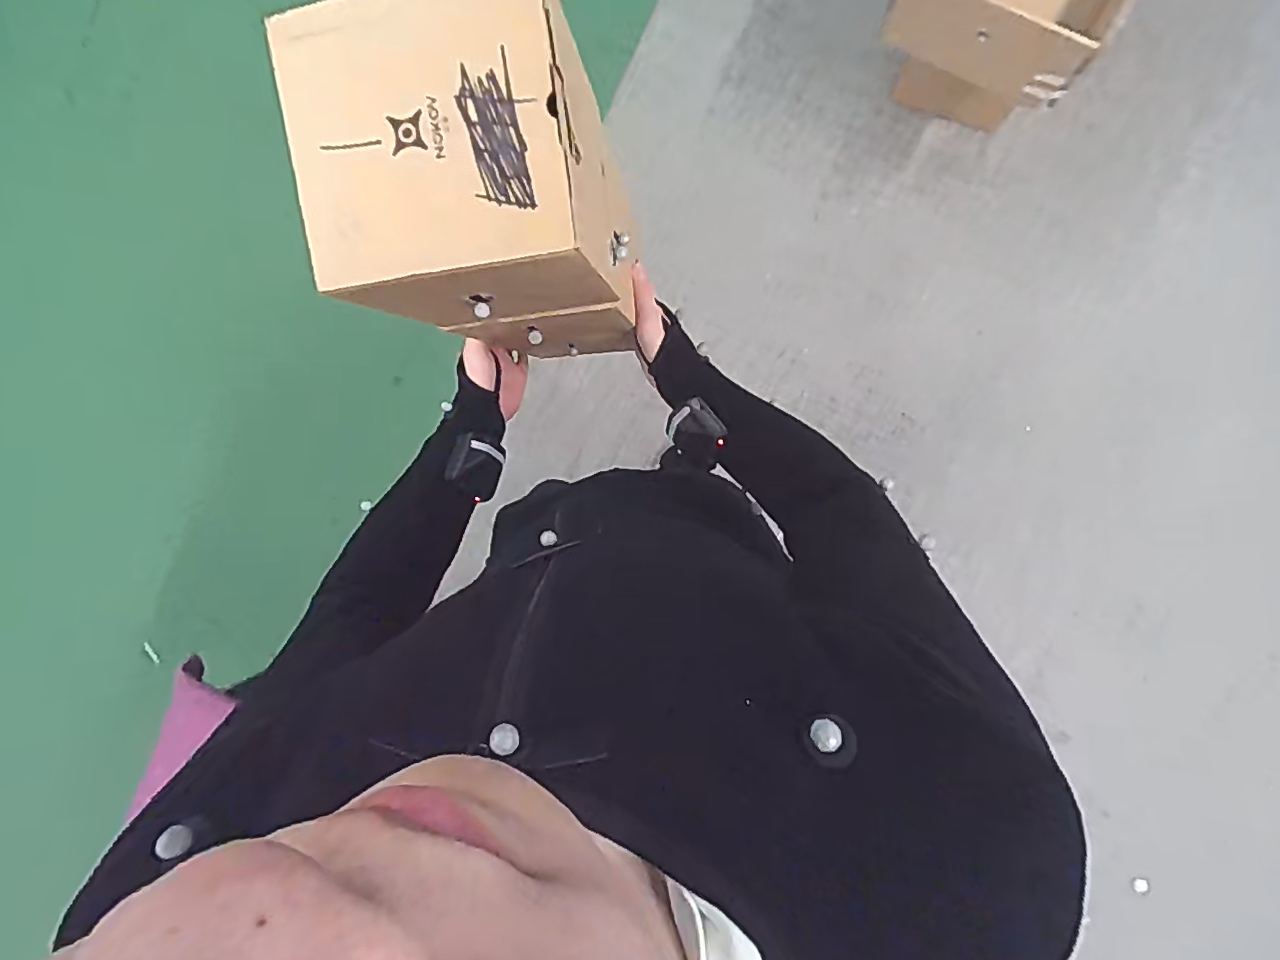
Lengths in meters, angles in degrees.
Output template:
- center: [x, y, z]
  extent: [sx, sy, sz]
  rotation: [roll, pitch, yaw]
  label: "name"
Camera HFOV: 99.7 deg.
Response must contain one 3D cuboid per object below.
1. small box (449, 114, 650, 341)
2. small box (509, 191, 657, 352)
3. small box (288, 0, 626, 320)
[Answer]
- center: [-0.090, -0.243, 0.565]
  extent: [0.179, 0.176, 0.168]
  rotation: [-4, 99, 8]
  label: "small box"
- center: [-0.073, -0.265, 0.725]
  extent: [0.179, 0.176, 0.168]
  rotation: [-2, 98, 6]
  label: "small box"
- center: [-0.108, -0.221, 0.402]
  extent: [0.179, 0.176, 0.168]
  rotation: [-5, 98, 8]
  label: "small box"
